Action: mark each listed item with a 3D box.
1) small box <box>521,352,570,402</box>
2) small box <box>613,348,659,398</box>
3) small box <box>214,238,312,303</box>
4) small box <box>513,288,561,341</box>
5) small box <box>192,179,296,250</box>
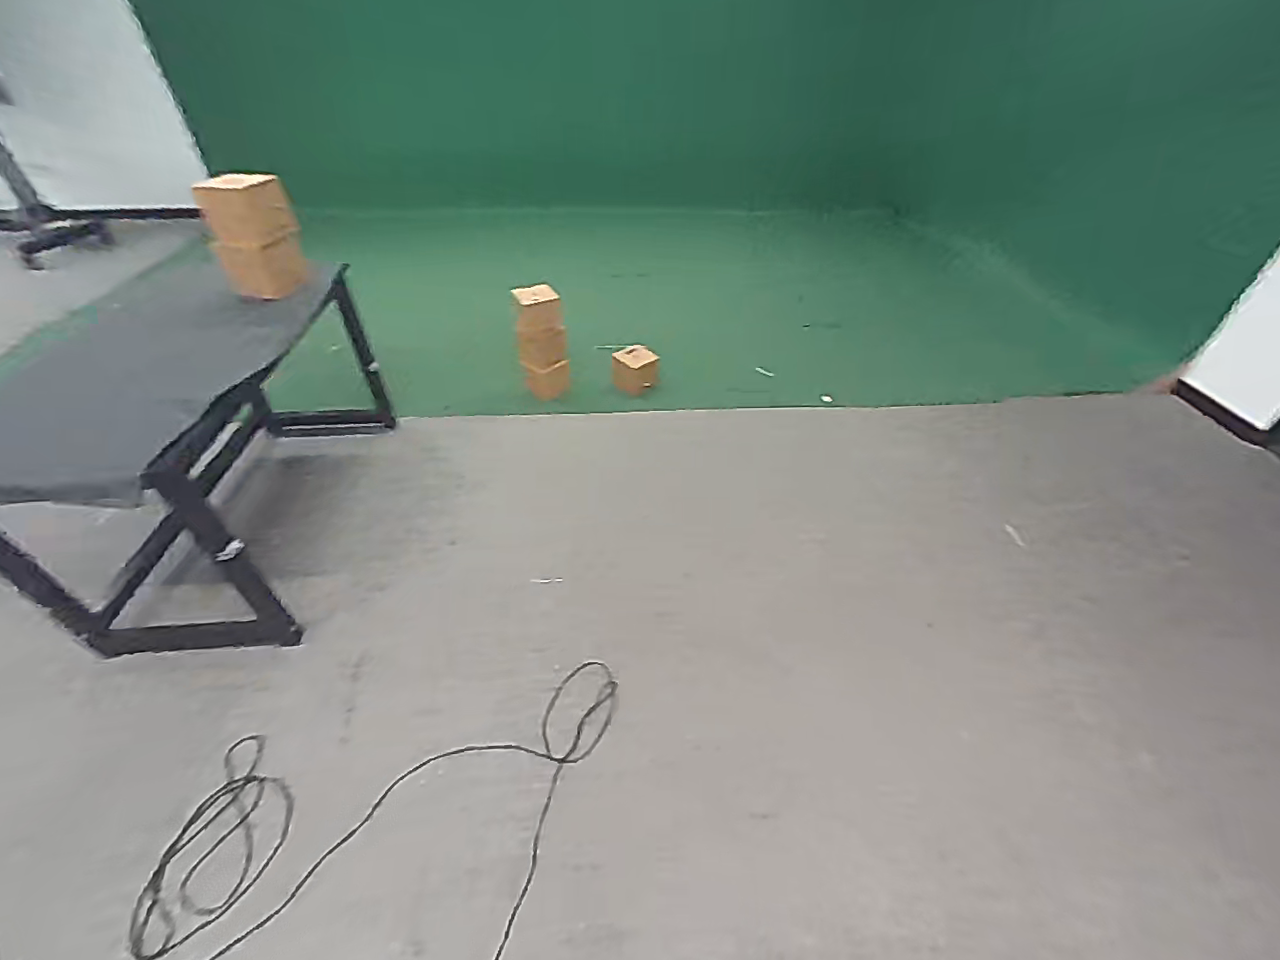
[{"bbox_3d":[-0.467,-0.508,2.700,0.179,0.176,0.168,31,50,30],"label":"small box"},{"bbox_3d":[-0.024,-0.541,2.738,0.168,0.176,0.179,-30,51,-30],"label":"small box"},{"bbox_3d":[-1.253,-0.708,1.813,0.179,0.176,0.168,10,43,13],"label":"small box"},{"bbox_3d":[-0.475,-0.765,2.493,0.168,0.176,0.179,-20,46,-21],"label":"small box"},{"bbox_3d":[-1.246,-0.842,1.719,0.179,0.176,0.168,6,41,10],"label":"small box"}]
